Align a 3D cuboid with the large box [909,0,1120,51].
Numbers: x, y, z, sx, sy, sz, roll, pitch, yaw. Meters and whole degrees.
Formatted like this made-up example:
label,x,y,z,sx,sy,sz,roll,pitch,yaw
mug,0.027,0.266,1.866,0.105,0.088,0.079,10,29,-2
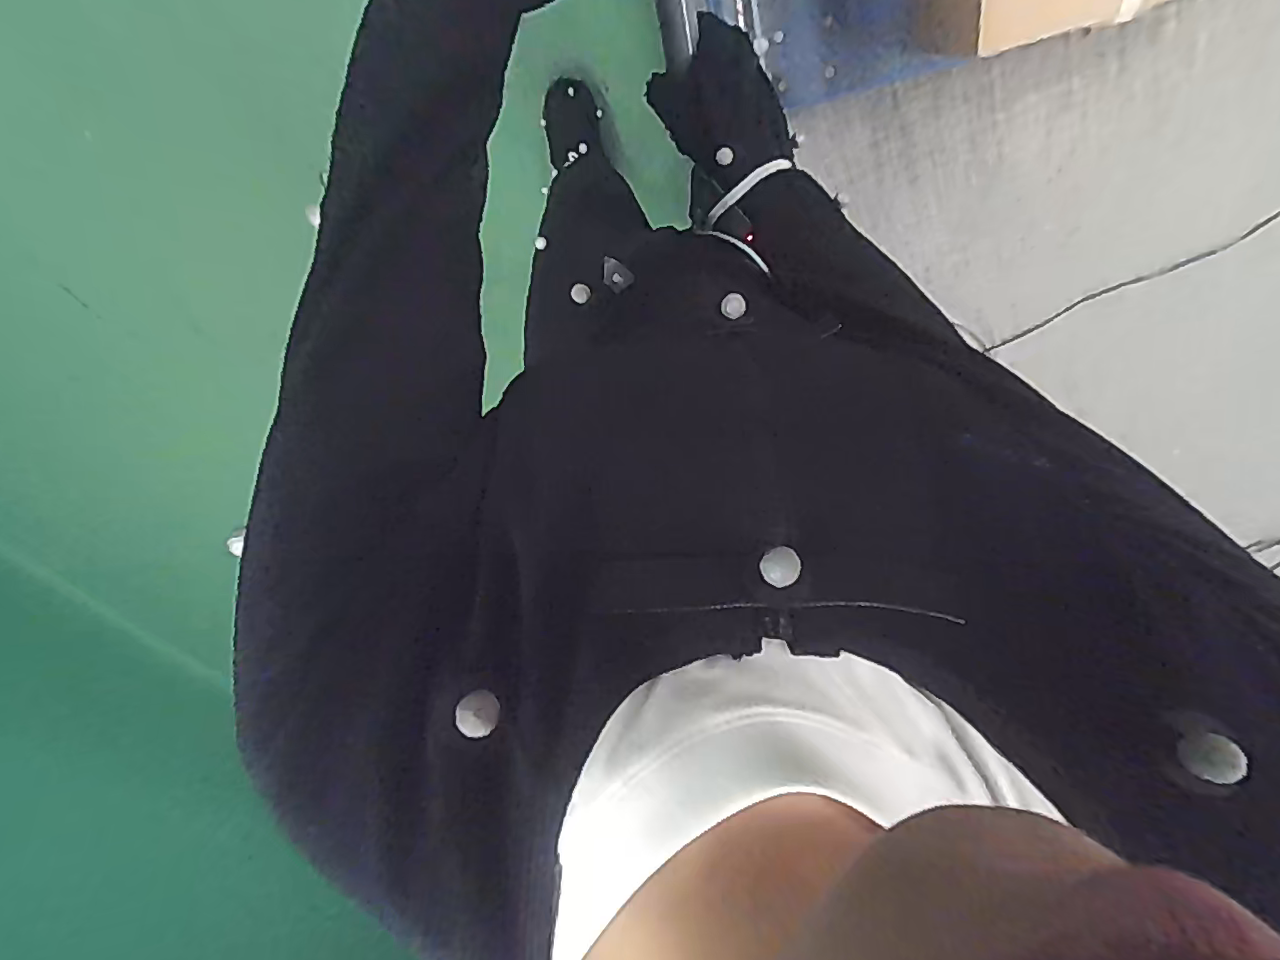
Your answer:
label,x,y,z,sx,sy,sz,roll,pitch,yaw
large box,0.522,-0.809,0.644,0.320,0.320,0.408,-8,127,15
